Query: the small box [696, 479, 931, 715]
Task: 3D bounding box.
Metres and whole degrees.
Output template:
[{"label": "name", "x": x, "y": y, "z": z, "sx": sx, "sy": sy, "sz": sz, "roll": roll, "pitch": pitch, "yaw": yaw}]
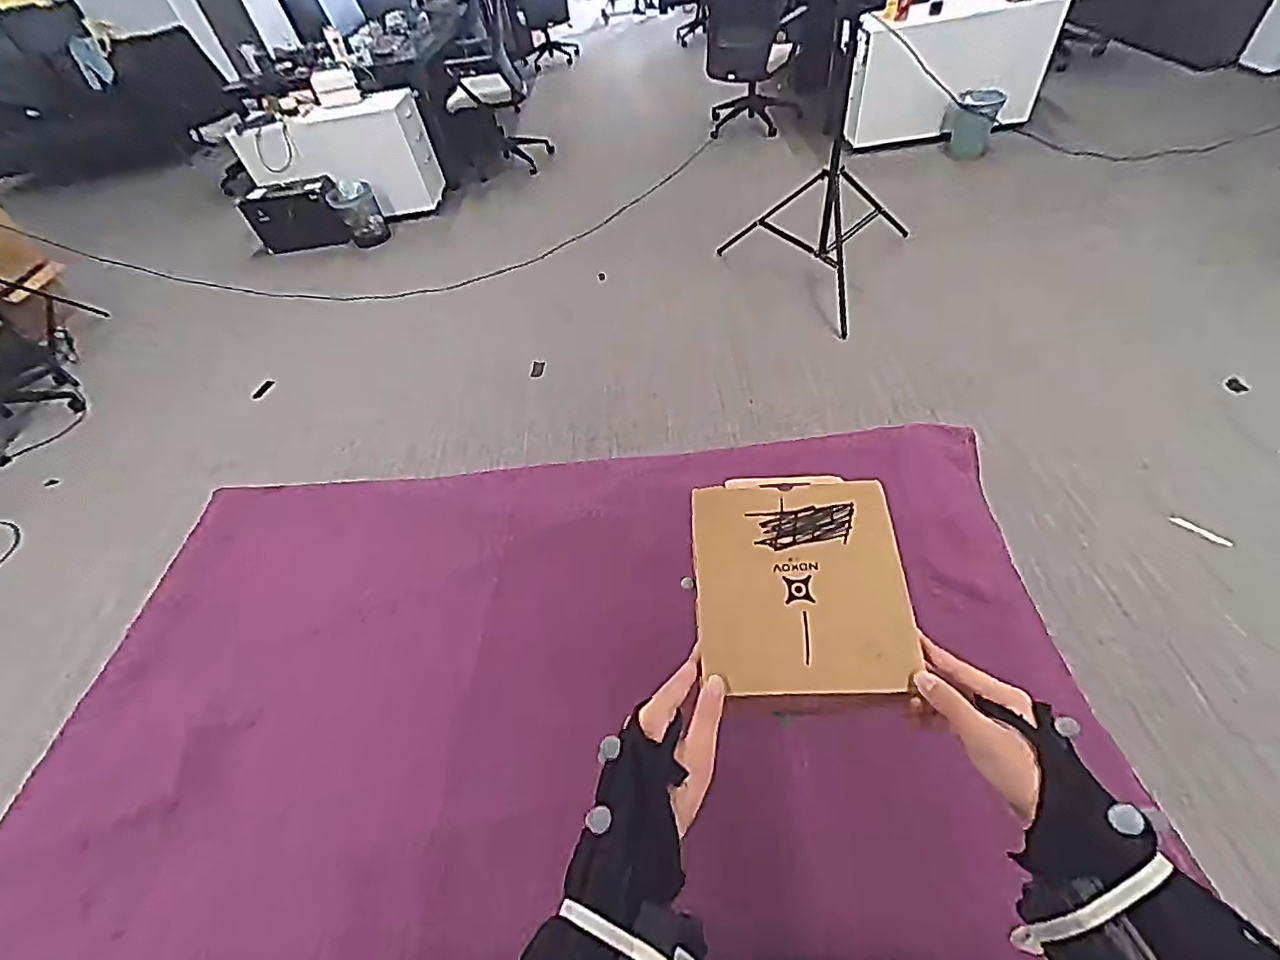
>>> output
[{"label": "small box", "x": 0.138, "y": 0.116, "z": 0.507, "sx": 0.168, "sy": 0.176, "sz": 0.179, "roll": -3, "pitch": 61, "yaw": 5}]
